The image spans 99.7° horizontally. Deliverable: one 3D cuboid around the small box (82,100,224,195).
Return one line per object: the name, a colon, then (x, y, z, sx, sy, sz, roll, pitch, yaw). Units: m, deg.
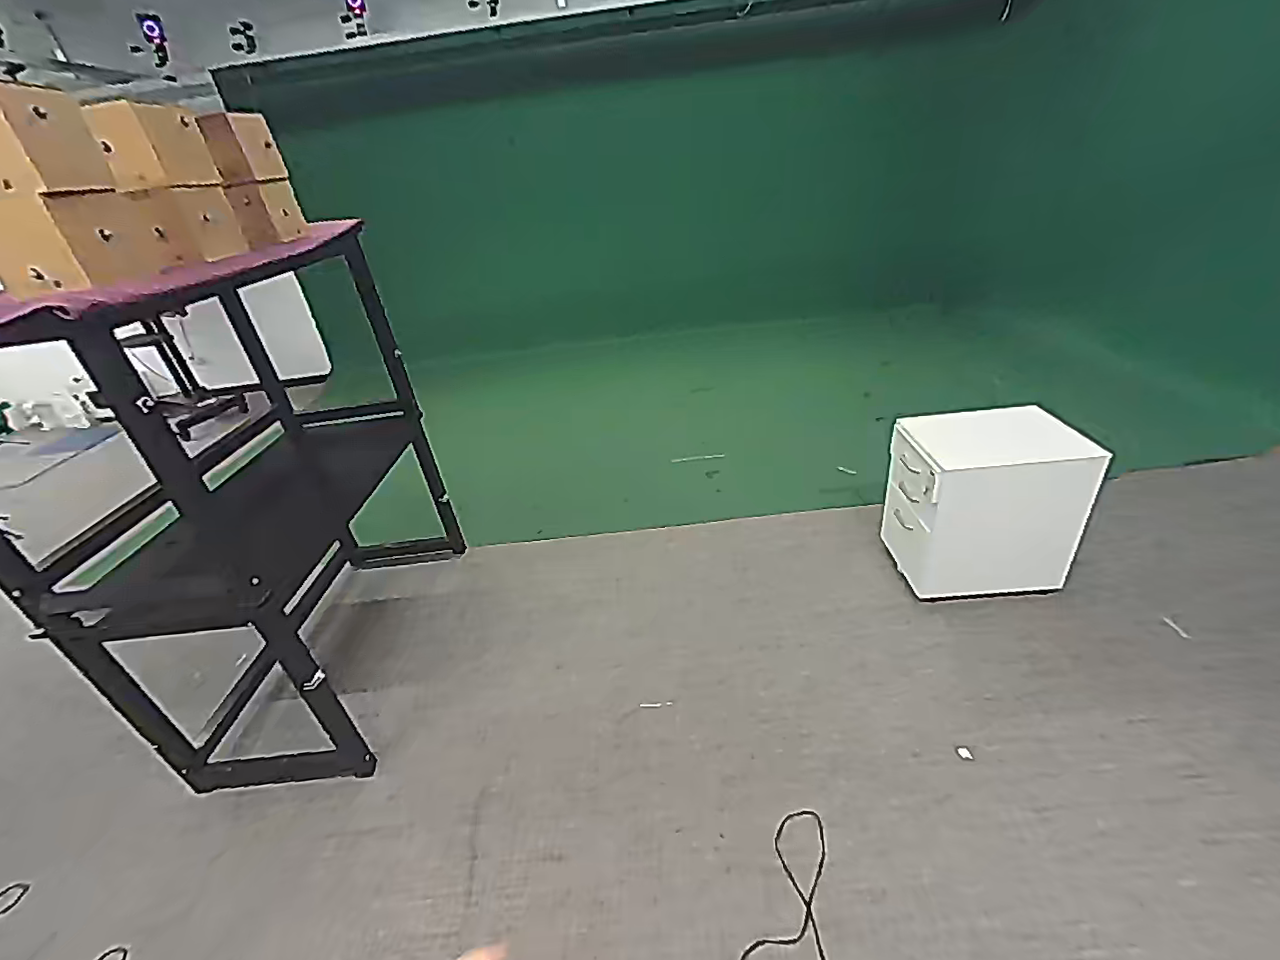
small box: (-1.148, -0.779, 1.279, 0.168, 0.176, 0.179, -4, 30, 6)

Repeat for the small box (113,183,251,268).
small box: (-1.133, -0.637, 1.359, 0.168, 0.176, 0.179, -5, 31, 3)

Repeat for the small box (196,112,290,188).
small box: (-1.157, -0.948, 1.563, 0.168, 0.176, 0.179, -8, 33, 4)

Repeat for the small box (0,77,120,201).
small box: (-1.121, -0.609, 0.981, 0.168, 0.176, 0.179, -8, 30, -1)

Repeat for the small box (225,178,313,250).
small box: (-1.149, -0.811, 1.651, 0.179, 0.176, 0.168, -7, 31, 5)
